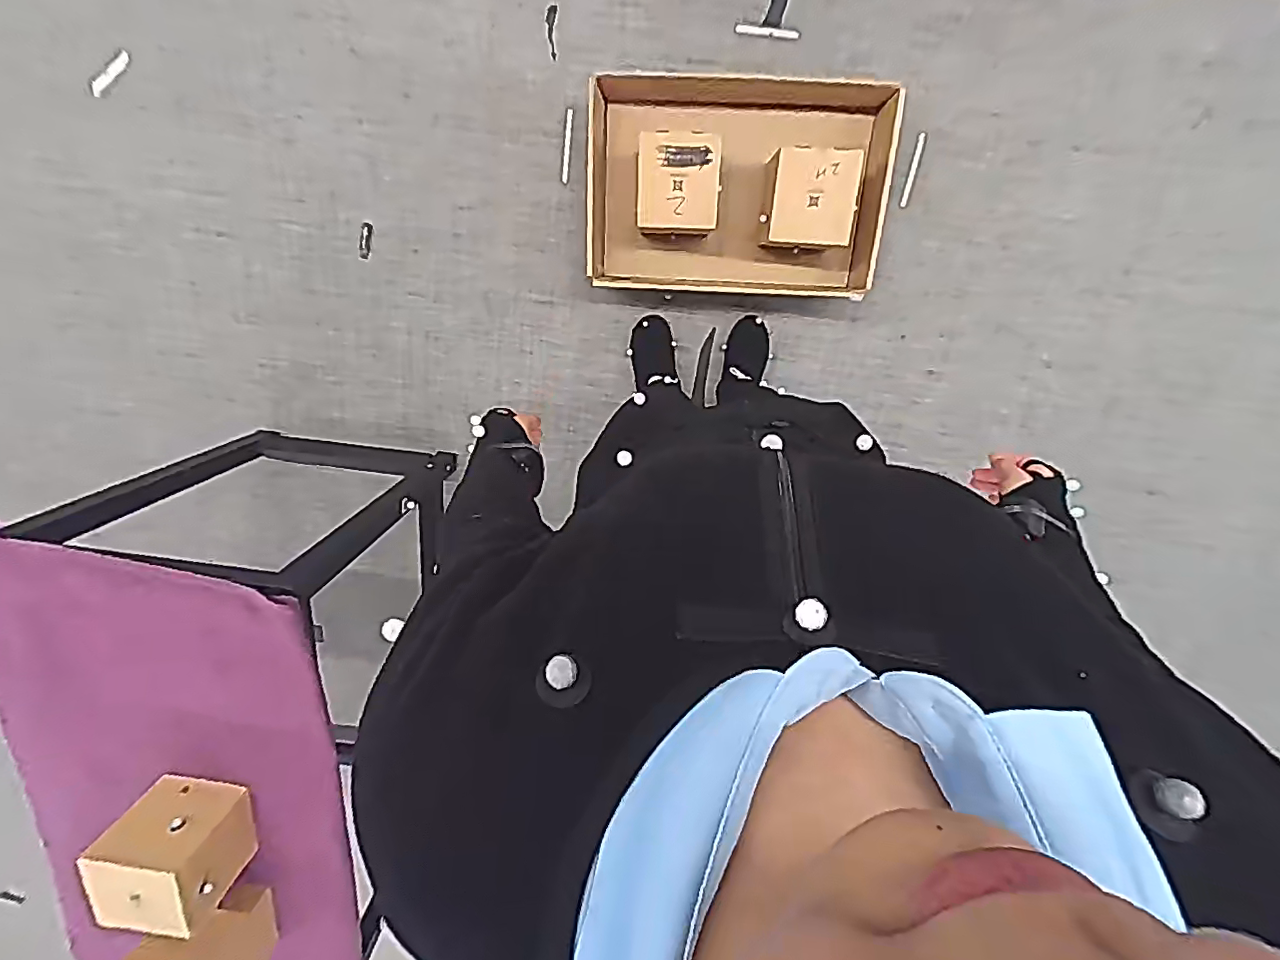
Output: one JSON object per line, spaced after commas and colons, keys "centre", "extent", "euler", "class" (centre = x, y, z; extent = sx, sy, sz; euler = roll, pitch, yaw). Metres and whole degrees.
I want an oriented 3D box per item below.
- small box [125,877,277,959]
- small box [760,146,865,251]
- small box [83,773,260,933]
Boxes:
{"centre": [-0.866, 0.938, 1.087], "extent": [0.168, 0.176, 0.179], "euler": [8, 110, 0], "class": "small box"}
{"centre": [0.359, -0.595, 1.162], "extent": [0.168, 0.176, 0.179], "euler": [5, 110, 1], "class": "small box"}
{"centre": [-0.838, 0.672, 0.988], "extent": [0.168, 0.176, 0.179], "euler": [9, 111, 0], "class": "small box"}
